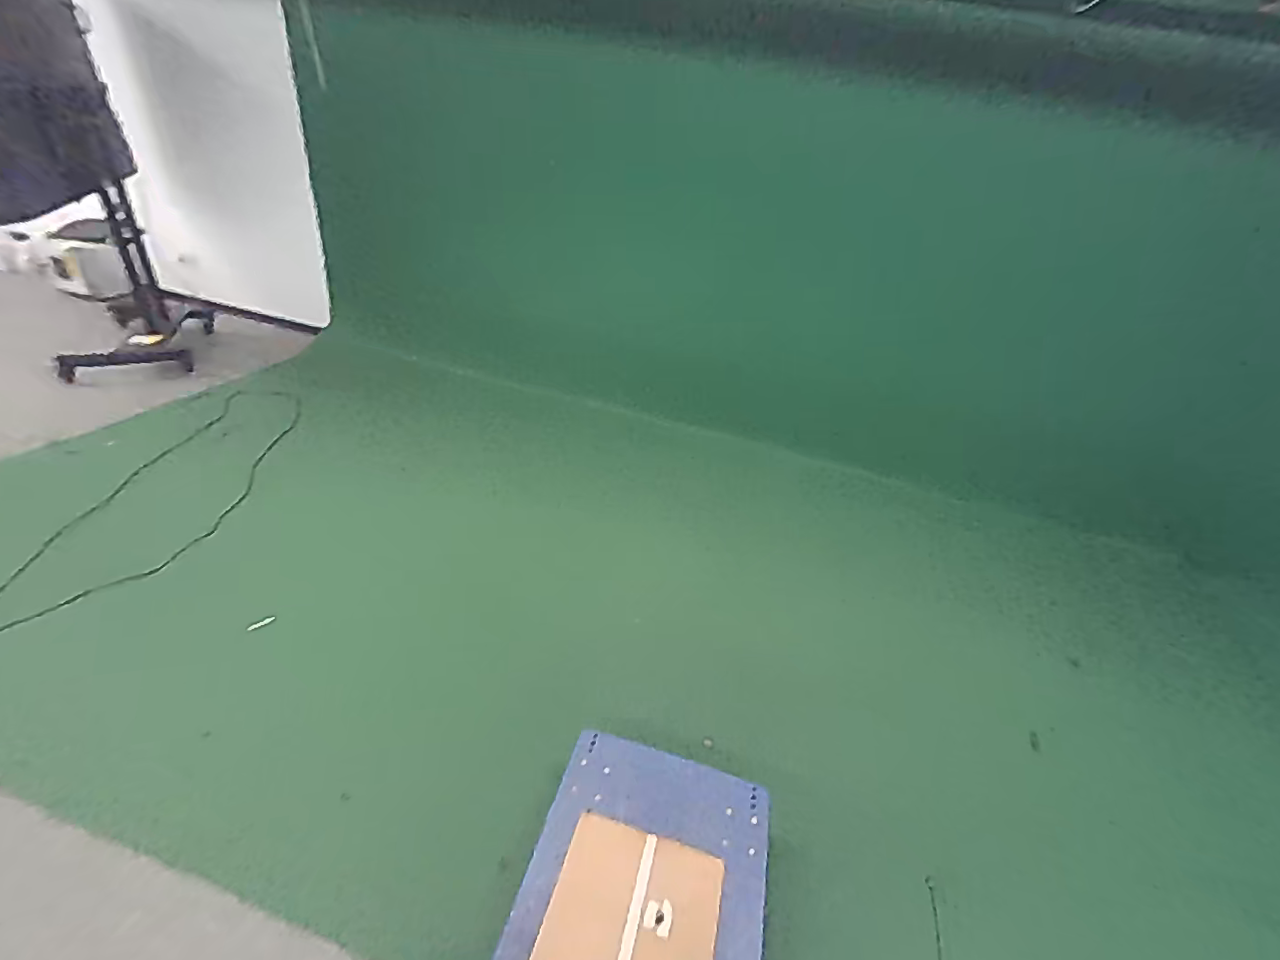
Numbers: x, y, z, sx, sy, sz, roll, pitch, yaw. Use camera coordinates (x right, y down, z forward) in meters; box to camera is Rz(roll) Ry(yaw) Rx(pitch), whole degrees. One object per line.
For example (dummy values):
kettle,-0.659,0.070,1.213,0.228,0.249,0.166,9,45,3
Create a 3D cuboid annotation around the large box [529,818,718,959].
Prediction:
large box,-0.053,0.971,1.030,0.320,0.320,0.408,15,31,8
